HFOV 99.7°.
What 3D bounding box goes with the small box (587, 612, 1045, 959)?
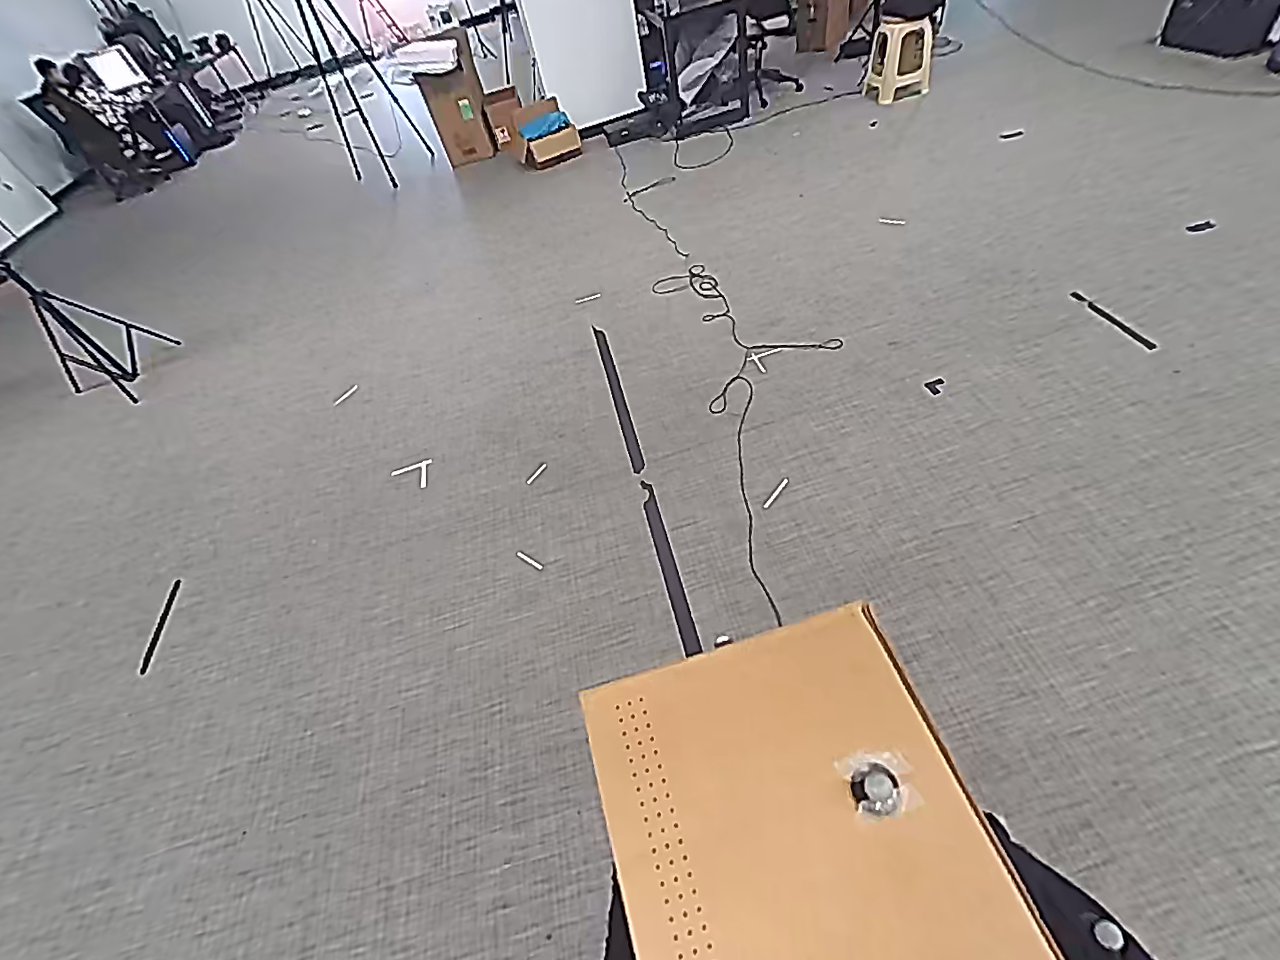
[{"bbox_3d":[0.075,0.209,0.324,0.176,0.168,0.179,-18,58,-3],"label":"small box"}]
